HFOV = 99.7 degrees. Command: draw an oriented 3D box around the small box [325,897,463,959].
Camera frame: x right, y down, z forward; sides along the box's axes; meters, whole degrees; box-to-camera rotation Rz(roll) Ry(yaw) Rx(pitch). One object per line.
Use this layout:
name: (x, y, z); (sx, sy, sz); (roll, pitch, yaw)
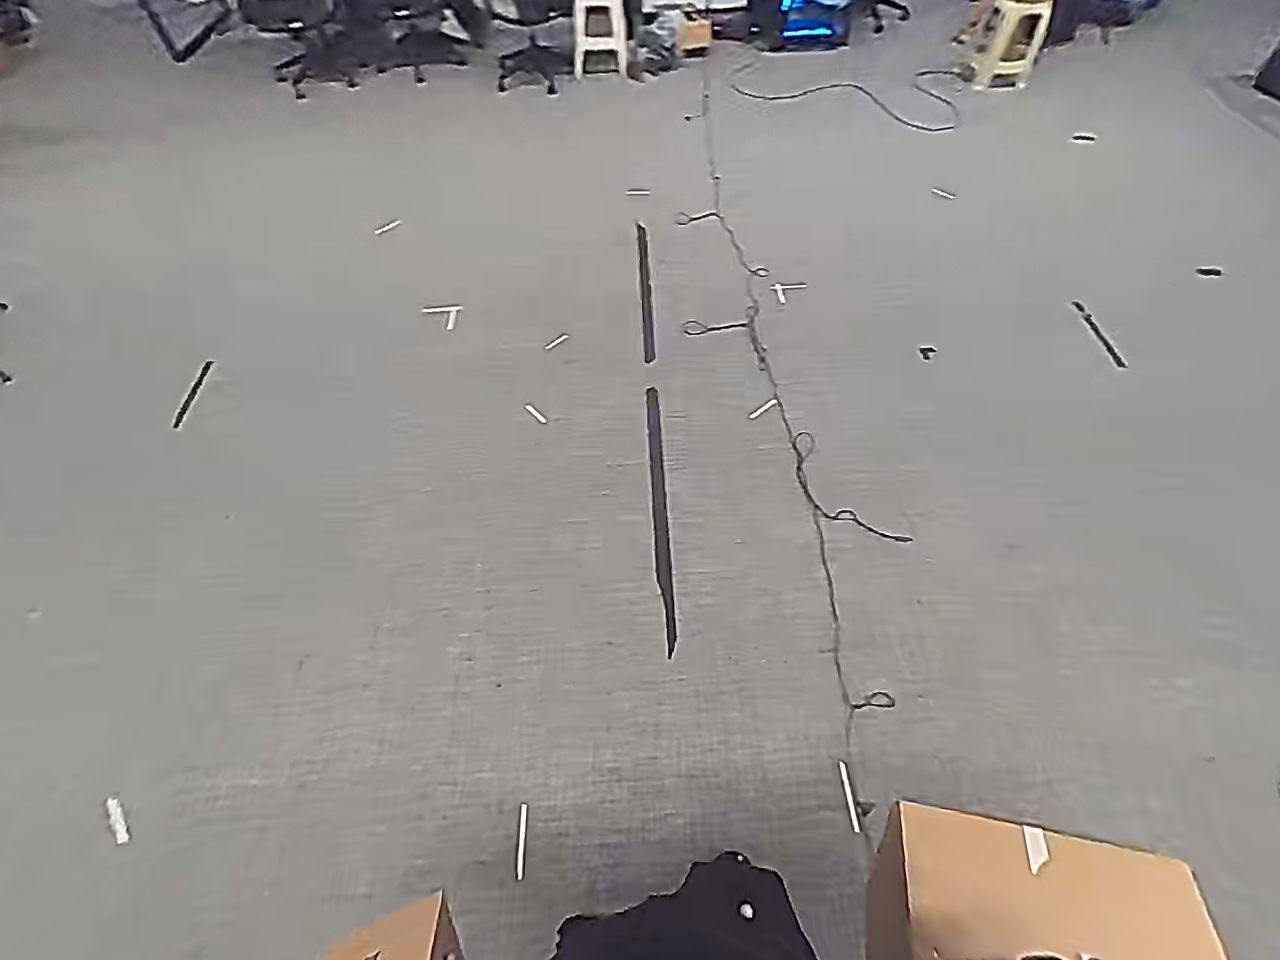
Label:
small box: (-0.312, 0.698, 0.684); (0.168, 0.179, 0.176); (-16, 87, -15)
